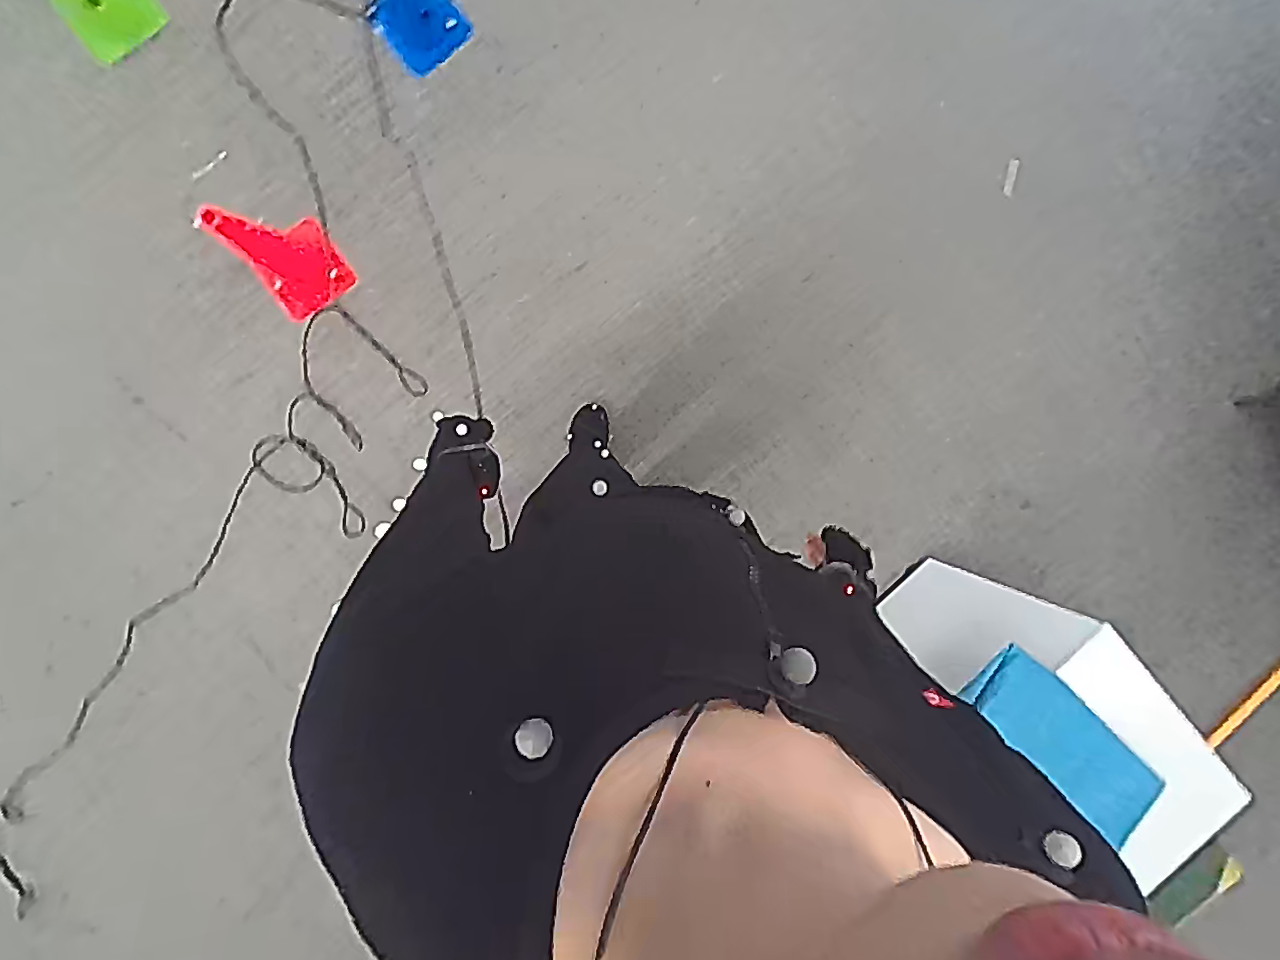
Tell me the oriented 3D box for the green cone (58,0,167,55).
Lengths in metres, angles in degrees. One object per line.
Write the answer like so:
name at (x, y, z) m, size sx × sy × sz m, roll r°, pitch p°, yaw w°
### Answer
green cone at (-1.259, -1.135, 1.125) m, size 0.200 × 0.368 × 0.202 m, roll -36°, pitch 98°, yaw 0°

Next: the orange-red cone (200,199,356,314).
orange-red cone at (-0.845, -0.539, 1.218) m, size 0.198 × 0.360 × 0.199 m, roll -34°, pitch 95°, yaw -2°
